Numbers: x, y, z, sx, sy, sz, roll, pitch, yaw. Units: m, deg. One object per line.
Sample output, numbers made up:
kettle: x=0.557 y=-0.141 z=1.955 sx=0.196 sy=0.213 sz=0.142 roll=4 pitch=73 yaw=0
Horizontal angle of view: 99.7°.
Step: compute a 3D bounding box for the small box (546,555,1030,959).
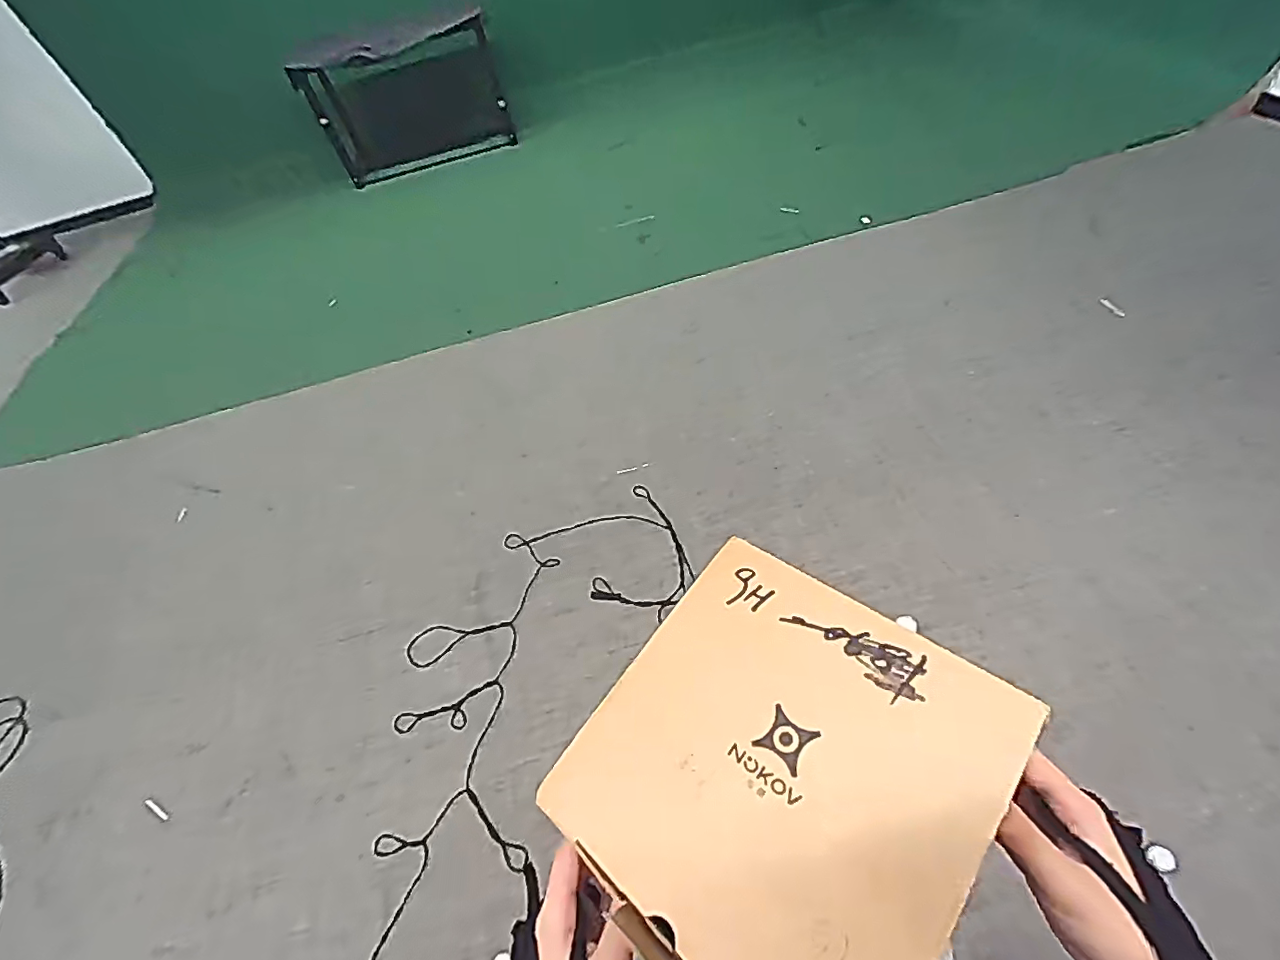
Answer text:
small box: x=0.084 y=0.184 z=0.317 sx=0.168 sy=0.176 sz=0.179 roll=28 pitch=66 yaw=33
